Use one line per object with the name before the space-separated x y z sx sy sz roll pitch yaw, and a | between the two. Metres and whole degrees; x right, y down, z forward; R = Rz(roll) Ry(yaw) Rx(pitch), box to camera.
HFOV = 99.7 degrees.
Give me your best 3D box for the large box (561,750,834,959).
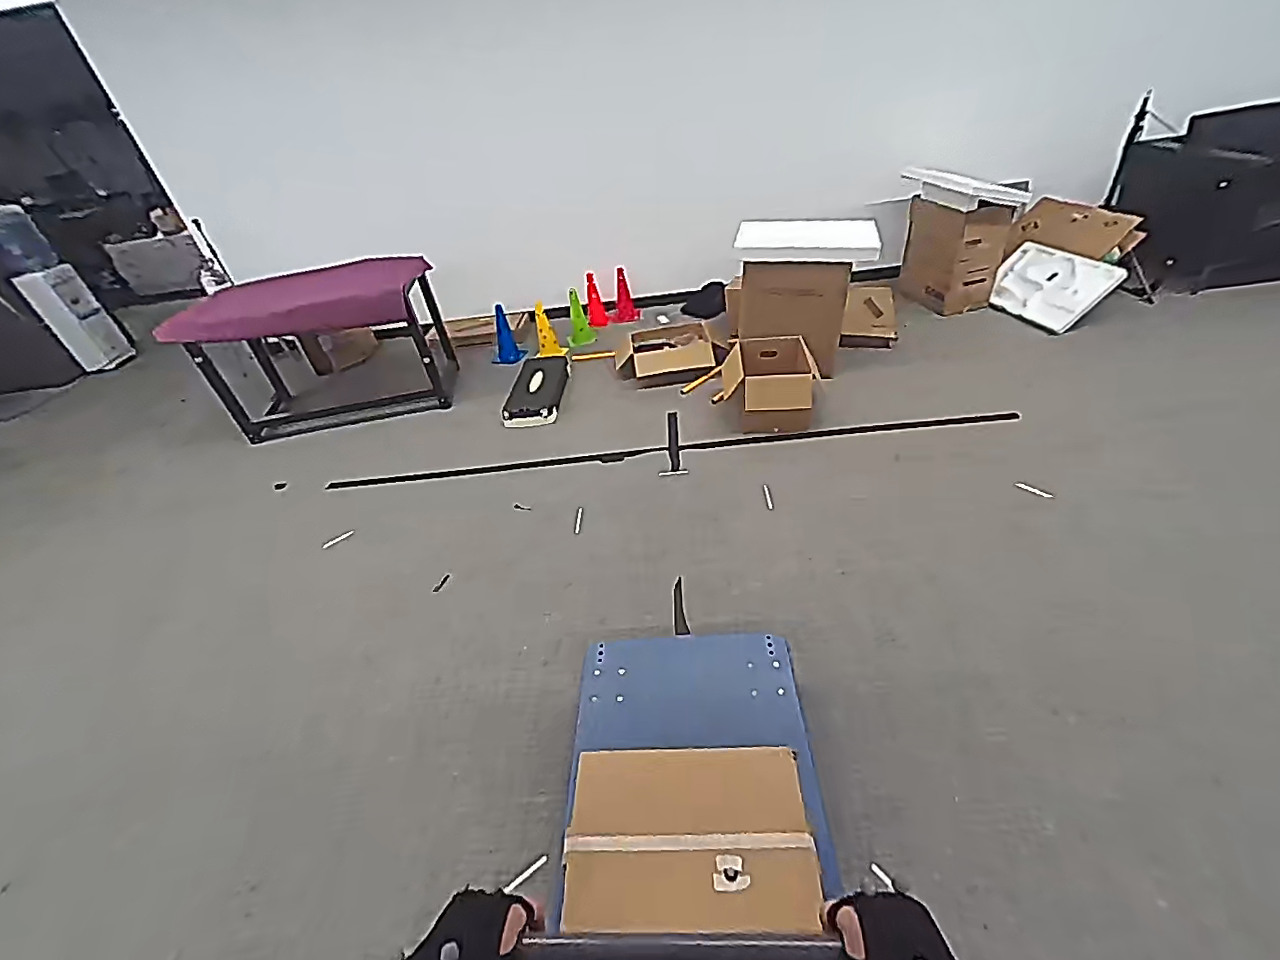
large box | 0.093 0.724 0.980 0.408 0.320 0.320 -4 38 4
